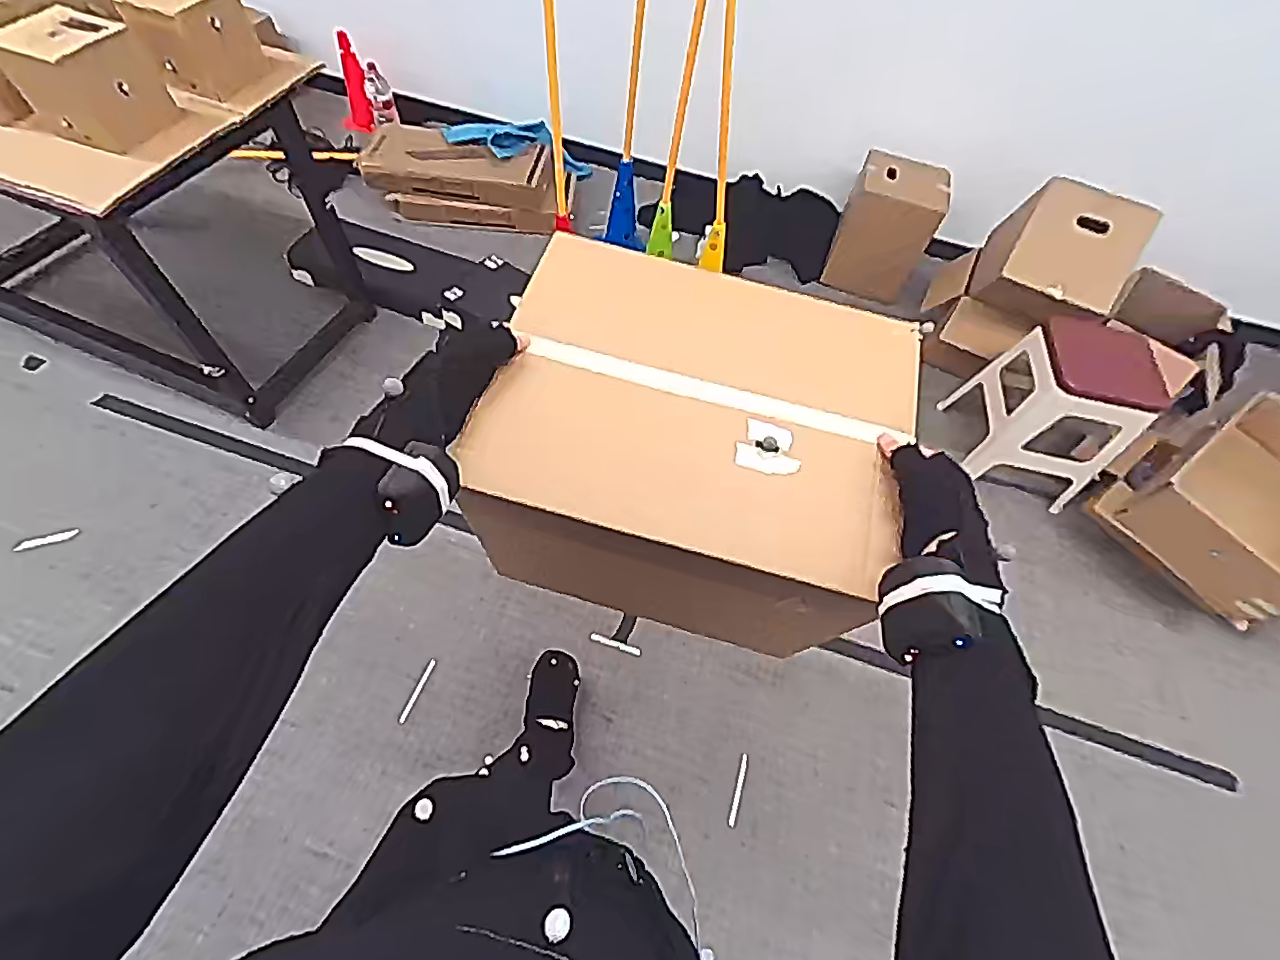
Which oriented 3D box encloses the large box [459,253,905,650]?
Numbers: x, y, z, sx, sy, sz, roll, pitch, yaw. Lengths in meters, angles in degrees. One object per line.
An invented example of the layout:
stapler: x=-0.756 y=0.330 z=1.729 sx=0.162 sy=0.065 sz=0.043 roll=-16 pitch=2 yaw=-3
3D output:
large box: x=0.050 y=-0.012 z=0.670 sx=0.408 sy=0.320 sz=0.320 roll=16 pitch=65 yaw=2
